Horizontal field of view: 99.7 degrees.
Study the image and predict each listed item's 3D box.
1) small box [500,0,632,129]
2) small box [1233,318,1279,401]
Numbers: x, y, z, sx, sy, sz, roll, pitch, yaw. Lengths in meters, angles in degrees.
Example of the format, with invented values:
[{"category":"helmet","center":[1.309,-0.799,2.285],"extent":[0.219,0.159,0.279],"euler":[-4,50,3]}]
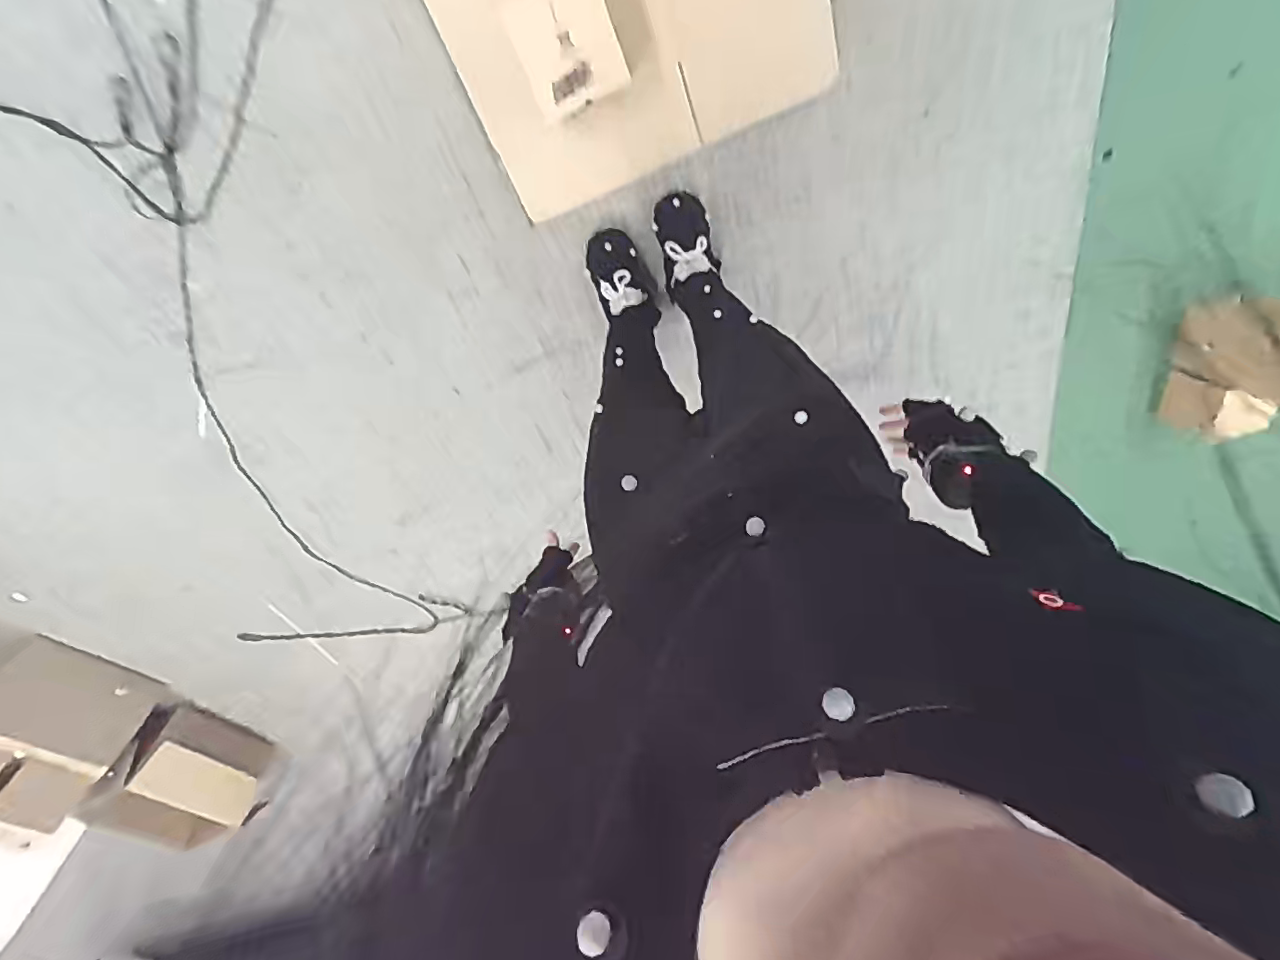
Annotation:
[{"category":"small box","center":[-0.123,-0.760,0.962],"extent":[0.168,0.176,0.179],"euler":[-22,123,9]},{"category":"small box","center":[1.592,-0.291,1.285],"extent":[0.168,0.176,0.179],"euler":[-16,124,5]}]
